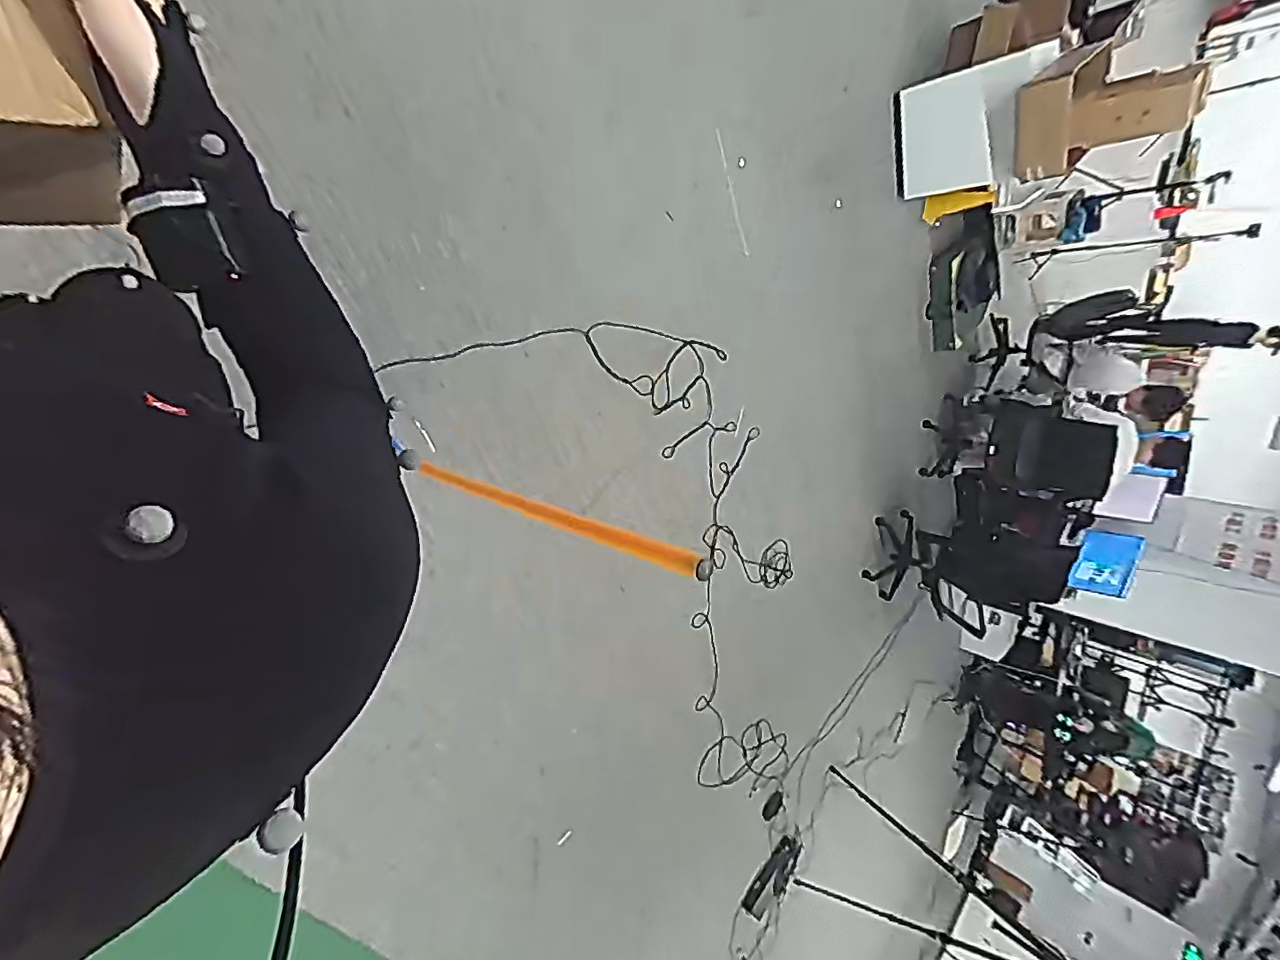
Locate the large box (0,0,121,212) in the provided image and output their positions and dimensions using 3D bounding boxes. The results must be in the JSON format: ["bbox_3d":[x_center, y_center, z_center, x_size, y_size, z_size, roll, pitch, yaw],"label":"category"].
[{"bbox_3d":[-0.610,-0.343,0.291,0.408,0.320,0.320,-24,115,-41],"label":"large box"}]
